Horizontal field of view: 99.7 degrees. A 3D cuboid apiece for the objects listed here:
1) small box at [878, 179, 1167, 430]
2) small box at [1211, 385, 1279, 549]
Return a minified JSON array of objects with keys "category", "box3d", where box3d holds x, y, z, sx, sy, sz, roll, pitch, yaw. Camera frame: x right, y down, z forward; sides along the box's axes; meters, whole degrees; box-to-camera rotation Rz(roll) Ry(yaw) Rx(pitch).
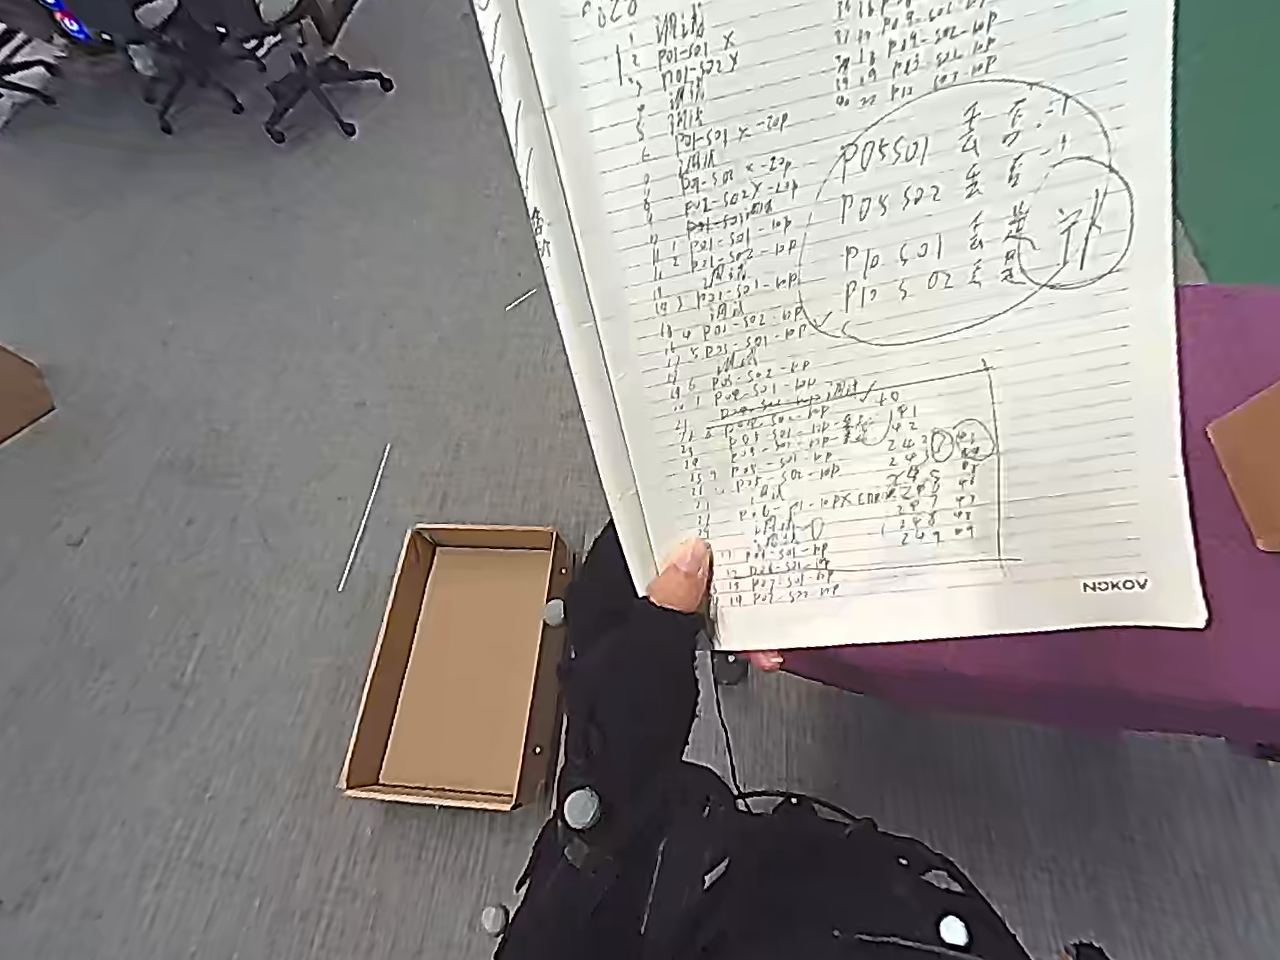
[{"category":"small box","box3d":[0.349,-0.165,0.539,0.168,0.176,0.179,3,62,8]},{"category":"small box","box3d":[0.812,-0.019,0.596,0.168,0.176,0.179,2,63,8]}]
